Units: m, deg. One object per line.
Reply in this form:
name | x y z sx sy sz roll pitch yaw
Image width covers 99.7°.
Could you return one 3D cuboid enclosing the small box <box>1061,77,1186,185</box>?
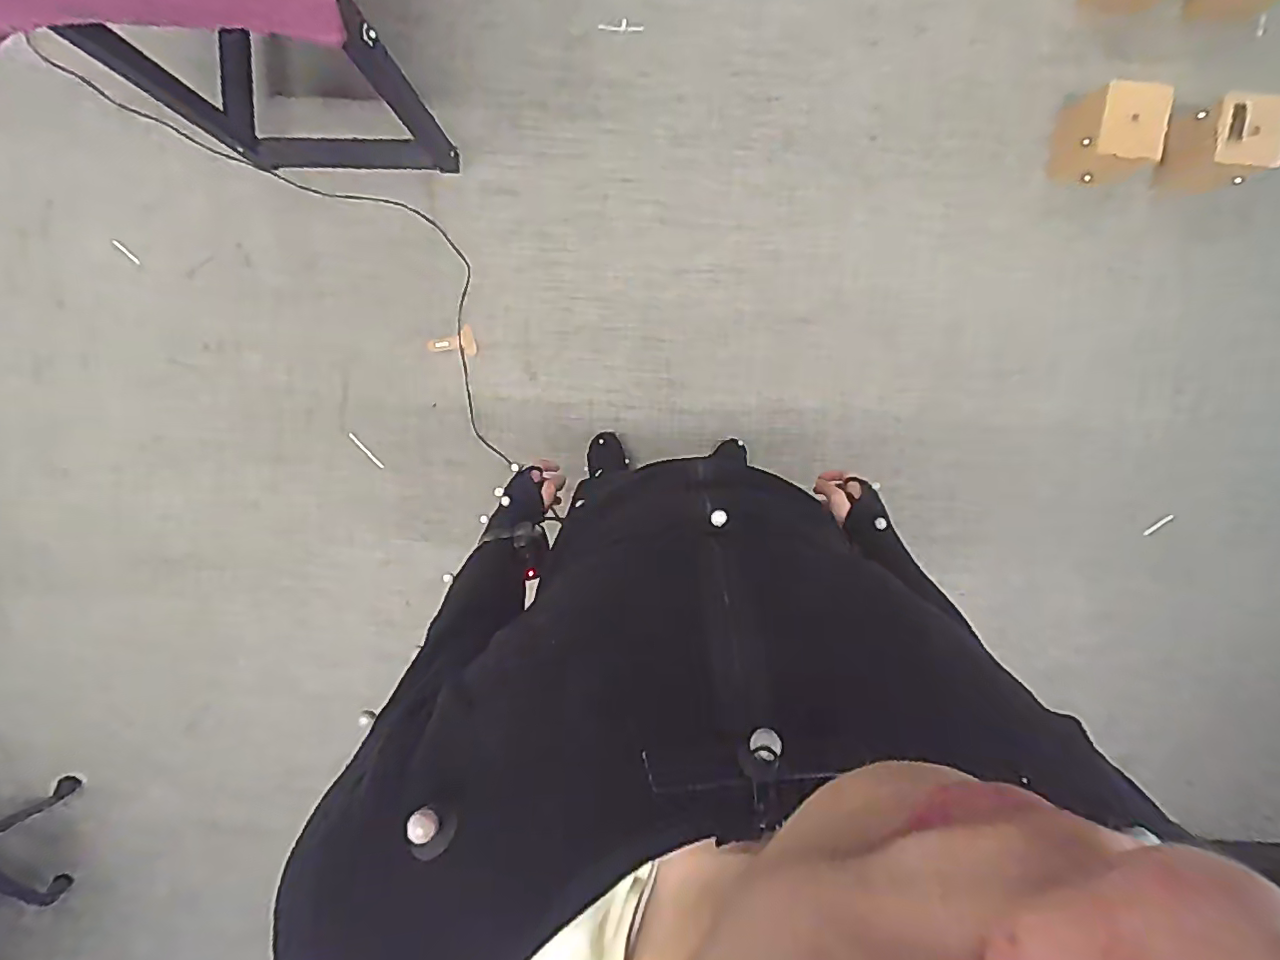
small box | 1.256 -0.906 1.417 0.168 0.176 0.179 6 97 1
